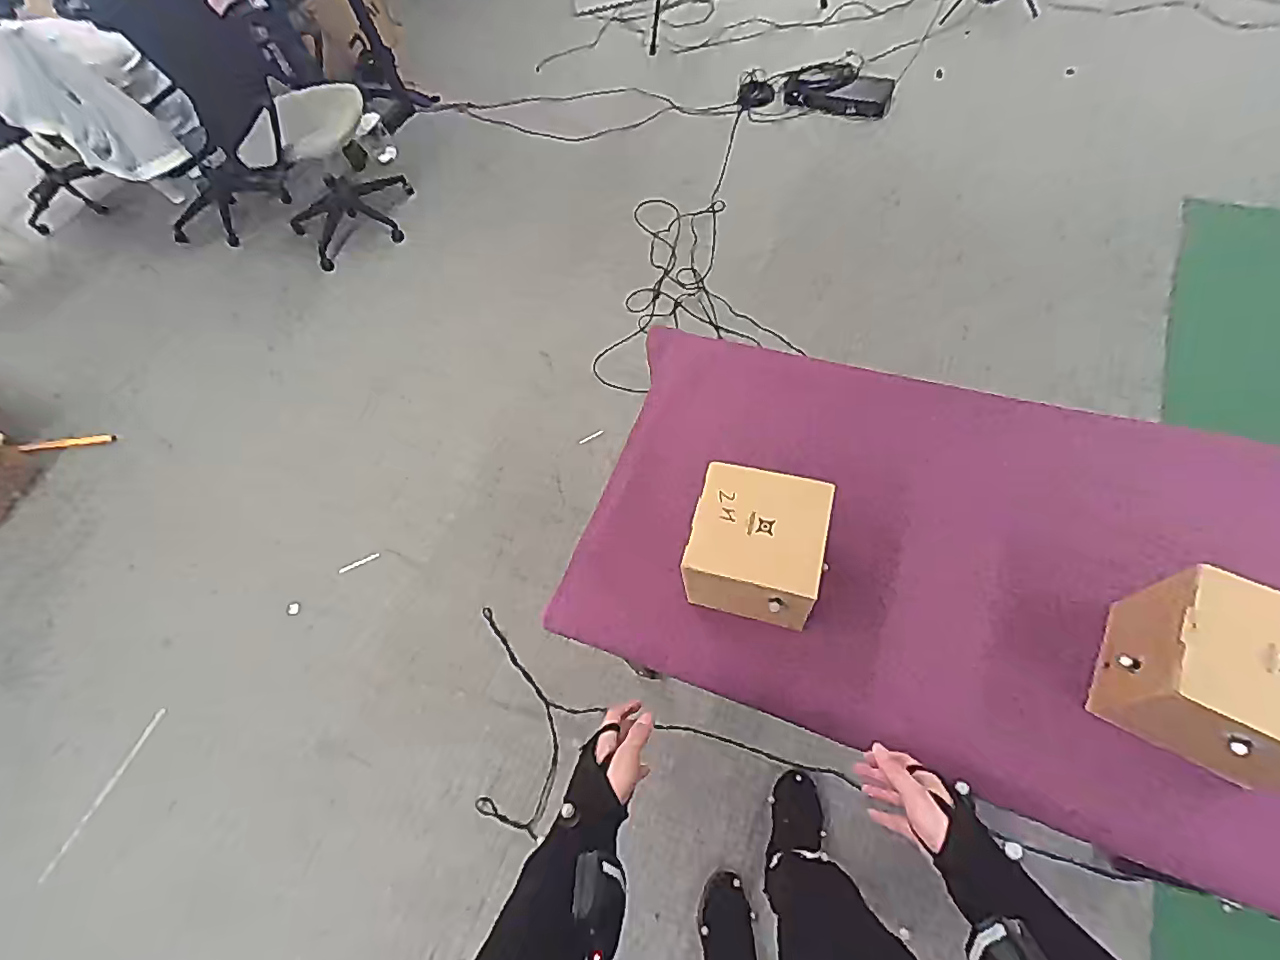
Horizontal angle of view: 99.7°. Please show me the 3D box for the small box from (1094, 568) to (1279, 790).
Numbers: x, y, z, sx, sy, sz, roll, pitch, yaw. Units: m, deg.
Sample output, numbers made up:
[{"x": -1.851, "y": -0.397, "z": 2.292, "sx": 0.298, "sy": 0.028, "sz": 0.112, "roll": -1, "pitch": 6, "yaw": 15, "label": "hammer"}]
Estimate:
[{"x": 0.678, "y": 0.235, "z": 0.622, "sx": 0.179, "sy": 0.176, "sz": 0.168, "roll": 27, "pitch": 69, "yaw": 22, "label": "small box"}]

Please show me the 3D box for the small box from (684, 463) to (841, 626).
[{"x": 0.174, "y": 0.100, "z": 0.780, "sx": 0.179, "sy": 0.176, "sz": 0.168, "roll": 12, "pitch": 64, "yaw": 16, "label": "small box"}]
